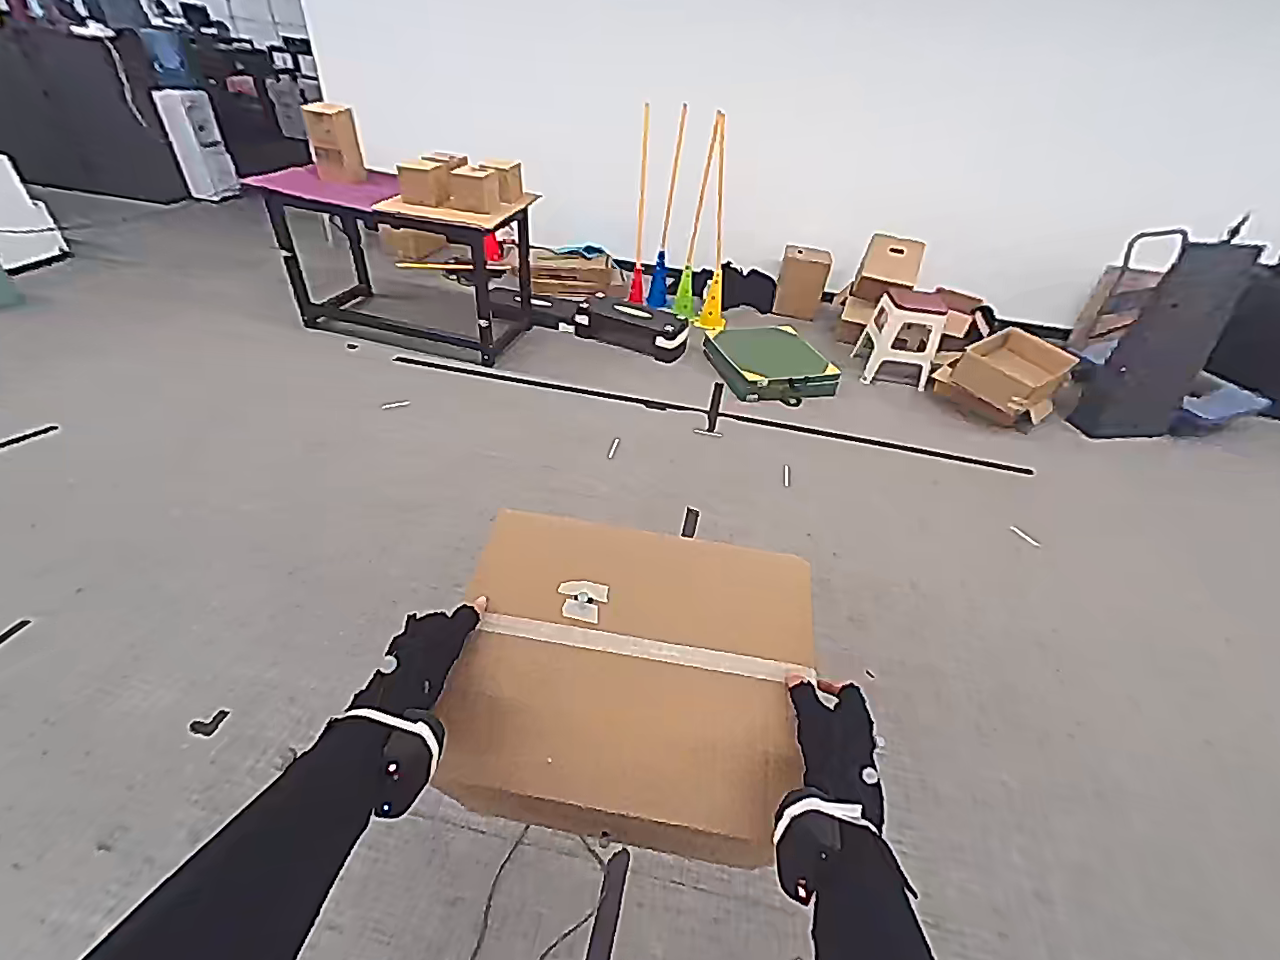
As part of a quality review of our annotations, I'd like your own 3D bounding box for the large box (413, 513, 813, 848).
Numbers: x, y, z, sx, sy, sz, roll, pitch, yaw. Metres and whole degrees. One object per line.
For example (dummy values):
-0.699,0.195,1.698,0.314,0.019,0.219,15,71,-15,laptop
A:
-0.012,0.279,0.733,0.408,0.320,0.320,9,52,4,large box
